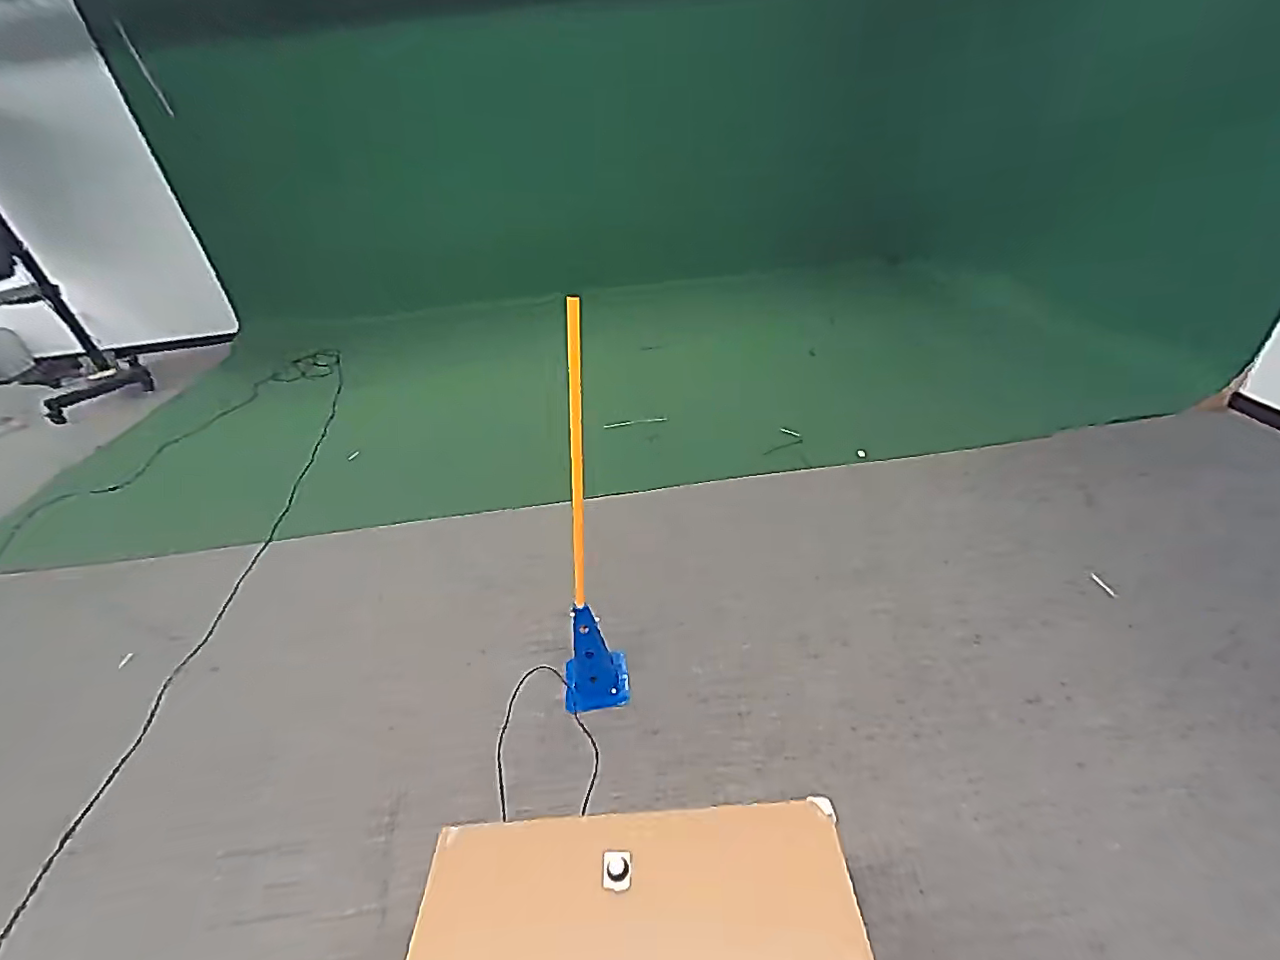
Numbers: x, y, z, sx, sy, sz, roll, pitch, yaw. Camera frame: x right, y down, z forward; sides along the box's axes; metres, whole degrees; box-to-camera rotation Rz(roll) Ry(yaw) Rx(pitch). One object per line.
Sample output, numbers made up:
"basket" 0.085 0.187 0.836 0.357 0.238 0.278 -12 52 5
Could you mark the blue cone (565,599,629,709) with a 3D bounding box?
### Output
"blue cone" -0.149 0.487 1.604 0.193 0.380 0.192 -8 35 -5
